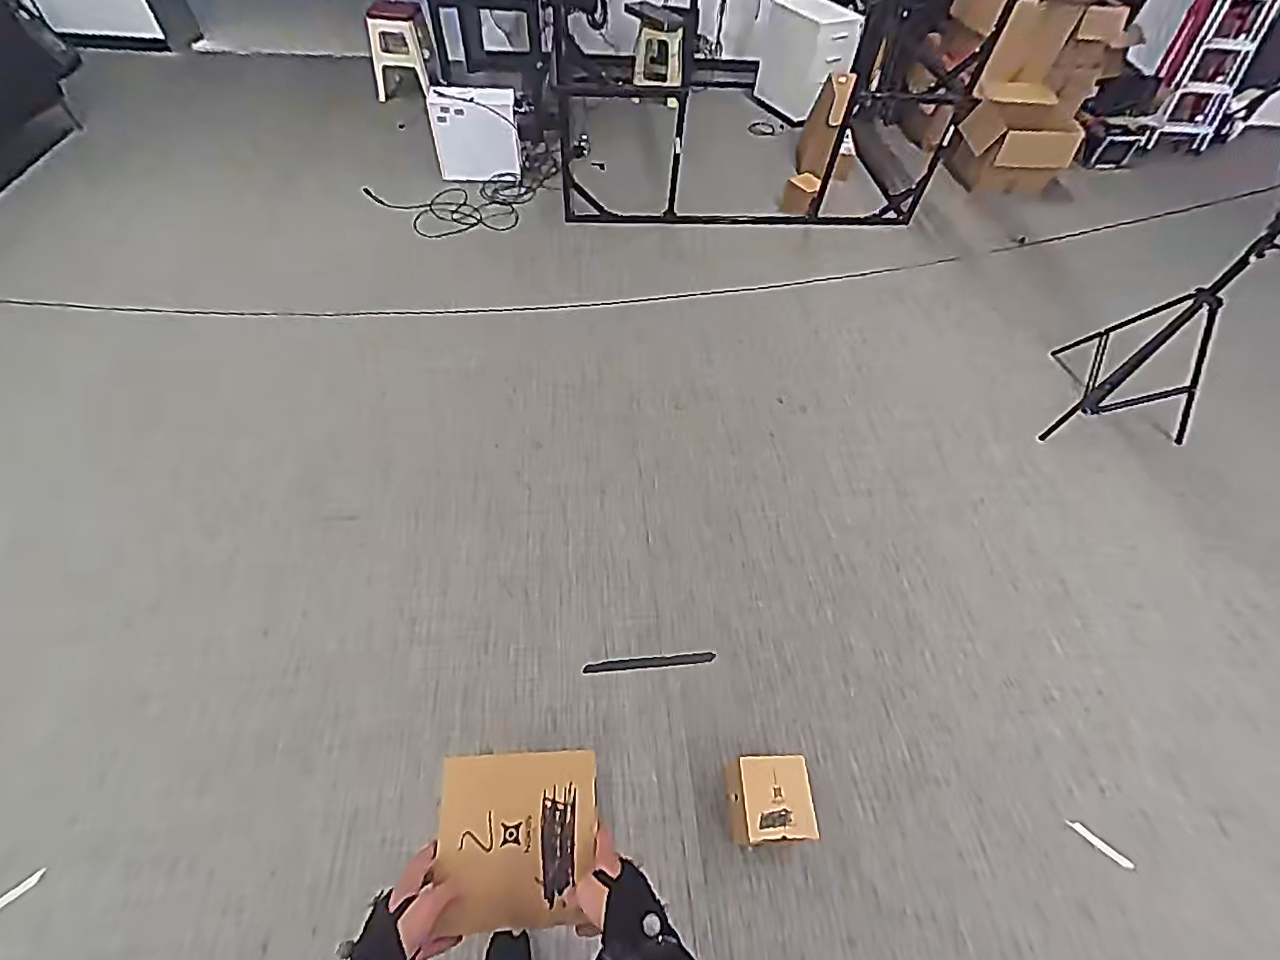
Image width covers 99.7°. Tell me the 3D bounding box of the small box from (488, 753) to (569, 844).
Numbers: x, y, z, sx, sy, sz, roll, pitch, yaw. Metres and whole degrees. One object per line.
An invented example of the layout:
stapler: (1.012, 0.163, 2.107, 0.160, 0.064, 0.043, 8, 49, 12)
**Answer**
small box: (-0.261, 0.773, 1.306, 0.168, 0.176, 0.179, -1, 54, -4)

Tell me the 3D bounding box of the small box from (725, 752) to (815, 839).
small box: (0.312, 0.784, 1.338, 0.168, 0.176, 0.179, 1, 54, -4)
